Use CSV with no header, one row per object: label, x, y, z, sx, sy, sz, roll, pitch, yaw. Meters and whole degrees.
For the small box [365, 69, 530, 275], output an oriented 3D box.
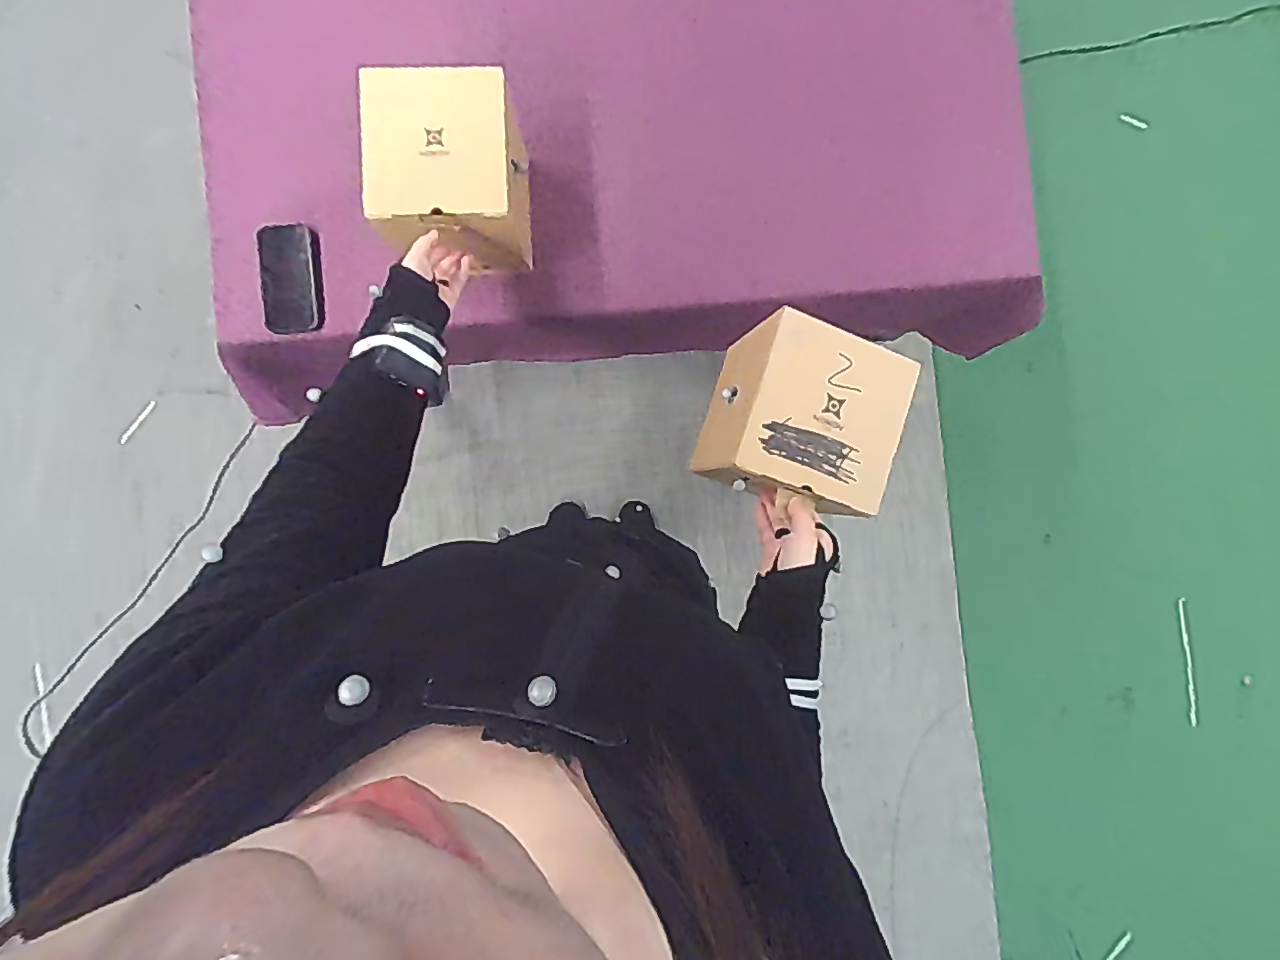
small box,-0.240,-0.389,0.708,0.168,0.176,0.179,-2,89,-3
